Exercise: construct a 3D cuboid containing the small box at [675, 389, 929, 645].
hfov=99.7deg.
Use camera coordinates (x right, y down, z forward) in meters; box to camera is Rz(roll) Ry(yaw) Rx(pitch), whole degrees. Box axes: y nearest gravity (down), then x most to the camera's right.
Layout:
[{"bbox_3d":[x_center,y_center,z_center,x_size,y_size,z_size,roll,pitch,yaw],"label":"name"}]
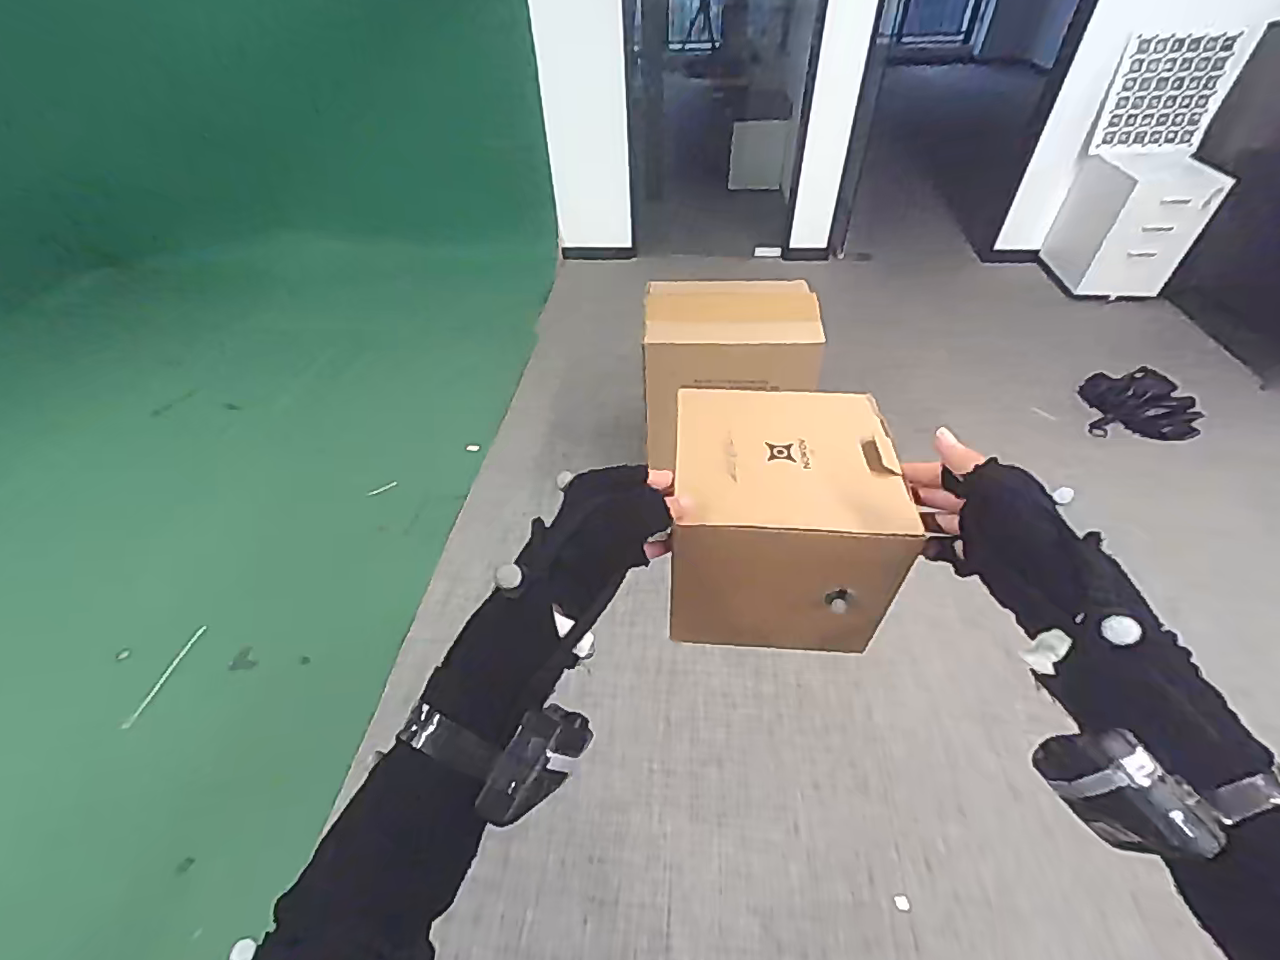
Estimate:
[{"bbox_3d":[0.123,0.035,0.492,0.179,0.176,0.168,1,44,4],"label":"small box"}]
